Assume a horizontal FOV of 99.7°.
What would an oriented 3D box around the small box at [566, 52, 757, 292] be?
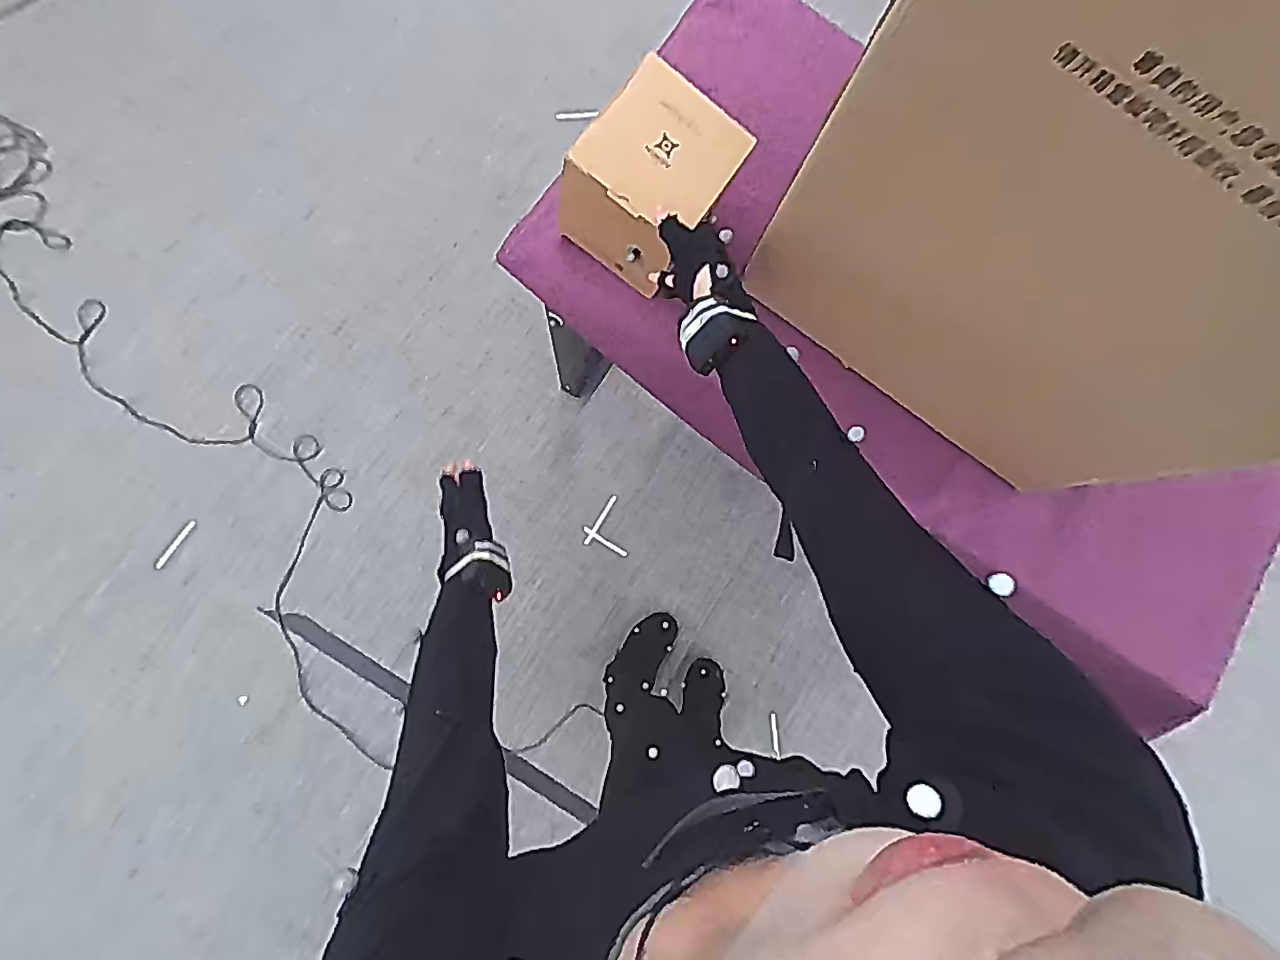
[{"bbox_3d":[0.015,-0.383,0.709,0.168,0.176,0.179,36,80,-9],"label":"small box"}]
